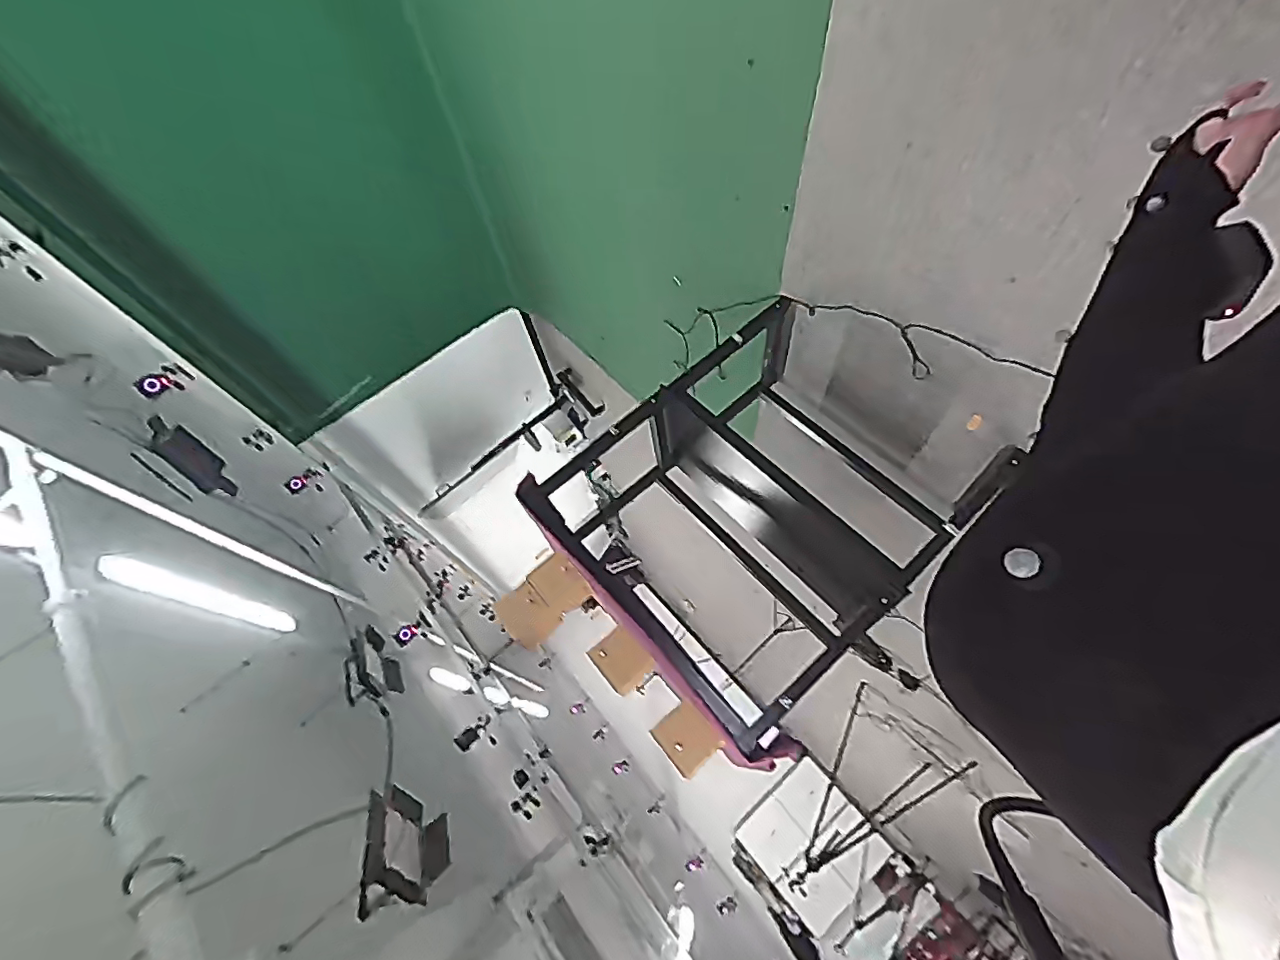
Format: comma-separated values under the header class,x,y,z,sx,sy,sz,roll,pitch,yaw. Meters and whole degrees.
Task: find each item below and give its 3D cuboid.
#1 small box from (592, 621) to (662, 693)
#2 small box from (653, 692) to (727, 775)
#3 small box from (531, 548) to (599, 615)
class,x,y,z,sx,sy,sz,roll,pitch,yaw
small box,-0.041,0.619,1.911,0.179,0.176,0.168,44,166,25
small box,0.170,0.824,1.757,0.179,0.176,0.168,45,165,29
small box,-0.282,0.382,2.070,0.179,0.176,0.168,45,167,26
